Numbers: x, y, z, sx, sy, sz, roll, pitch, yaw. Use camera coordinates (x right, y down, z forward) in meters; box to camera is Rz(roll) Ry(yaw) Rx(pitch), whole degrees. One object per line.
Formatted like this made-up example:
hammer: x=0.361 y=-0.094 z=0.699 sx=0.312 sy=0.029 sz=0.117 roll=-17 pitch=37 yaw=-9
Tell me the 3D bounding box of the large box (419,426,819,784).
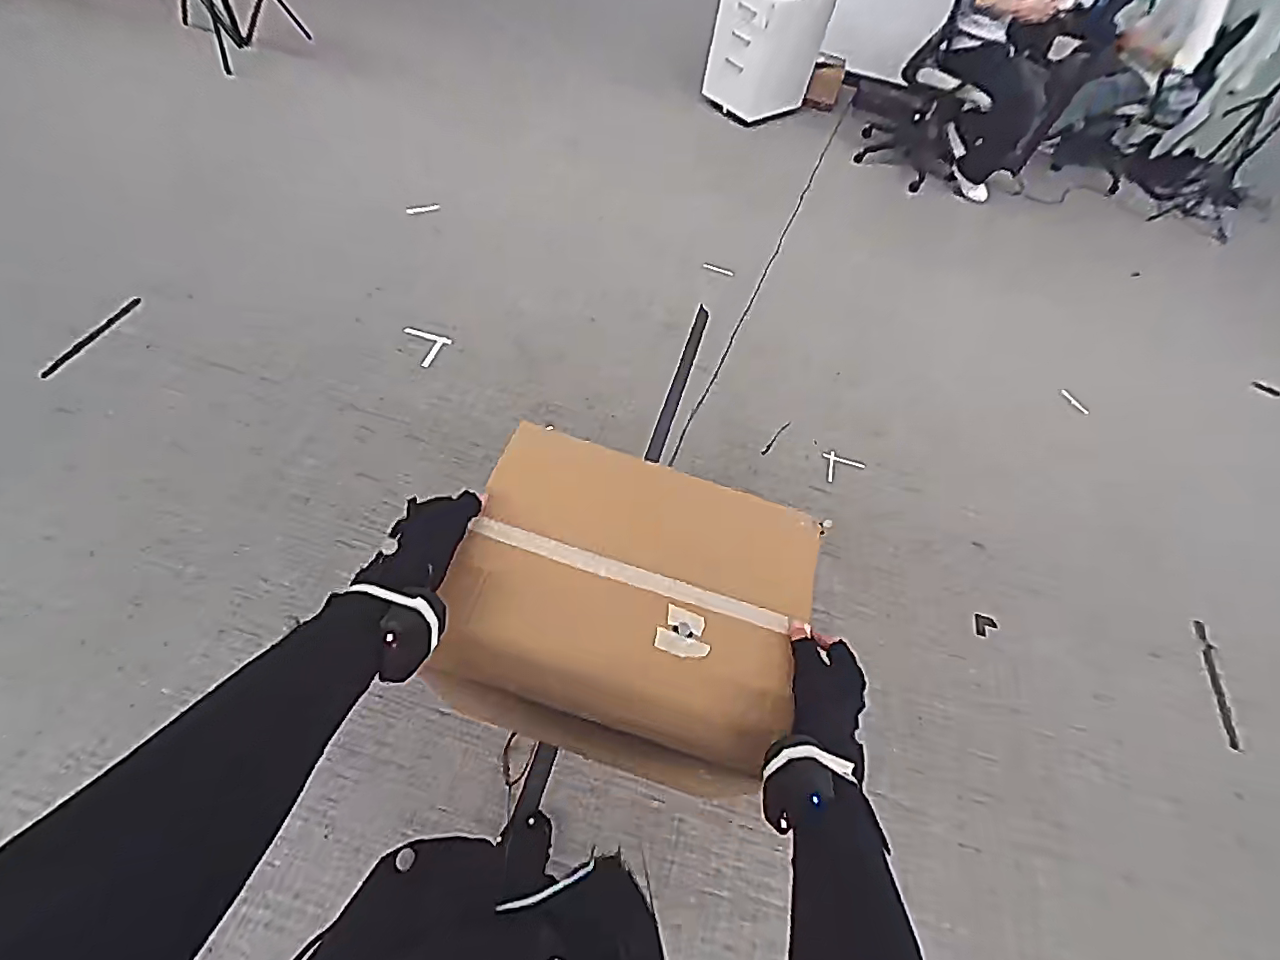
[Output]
large box: x=-0.021 y=0.185 z=0.747 sx=0.408 sy=0.320 sz=0.320 roll=19 pitch=58 yaw=2
